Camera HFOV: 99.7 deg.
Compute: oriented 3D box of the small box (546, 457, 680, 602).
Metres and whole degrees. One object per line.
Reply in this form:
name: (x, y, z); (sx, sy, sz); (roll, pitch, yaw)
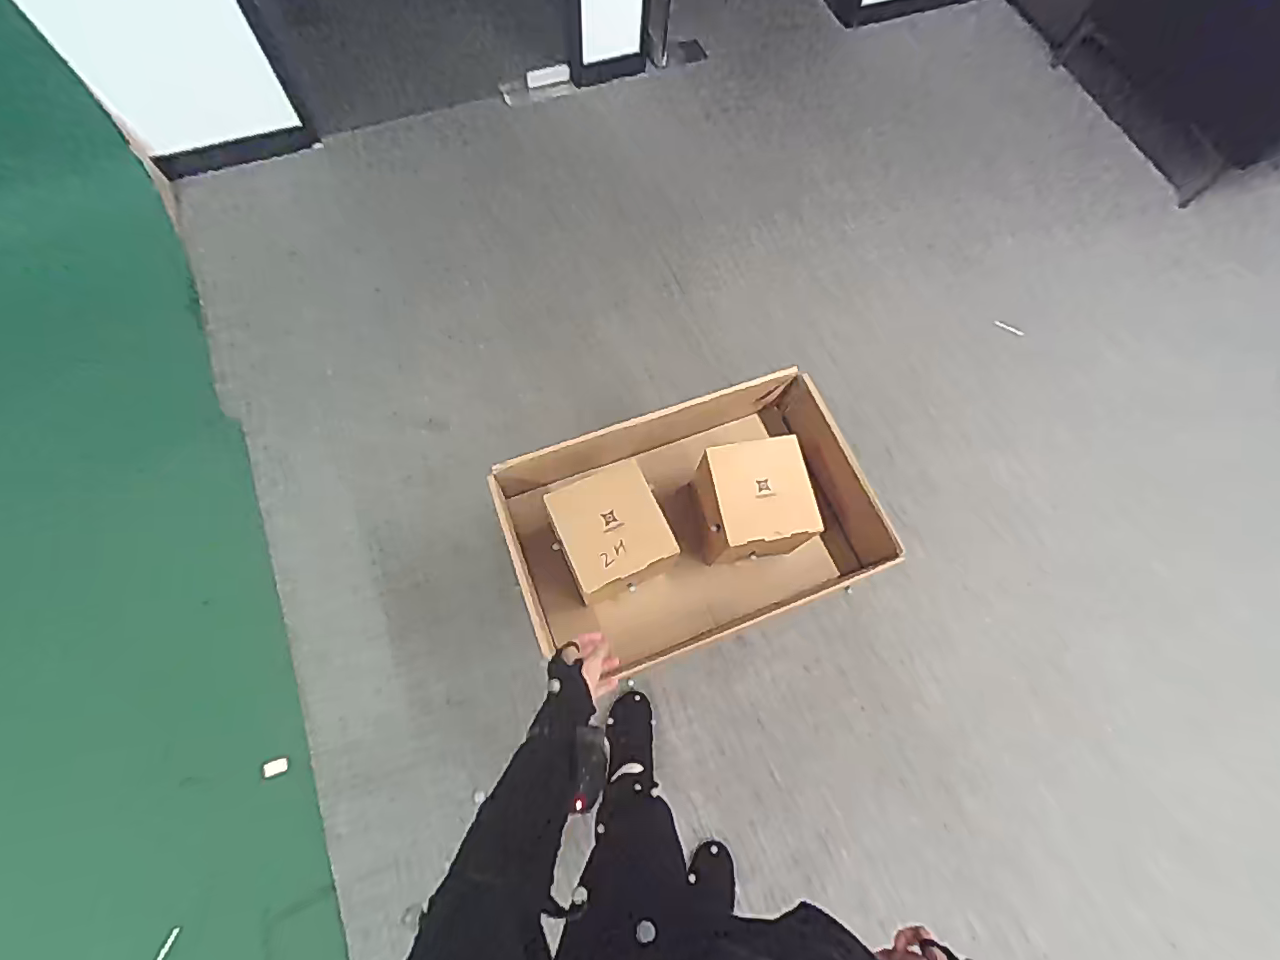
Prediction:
small box: (-0.051, 0.091, 0.926); (0.168, 0.176, 0.179); (-22, 74, -11)
